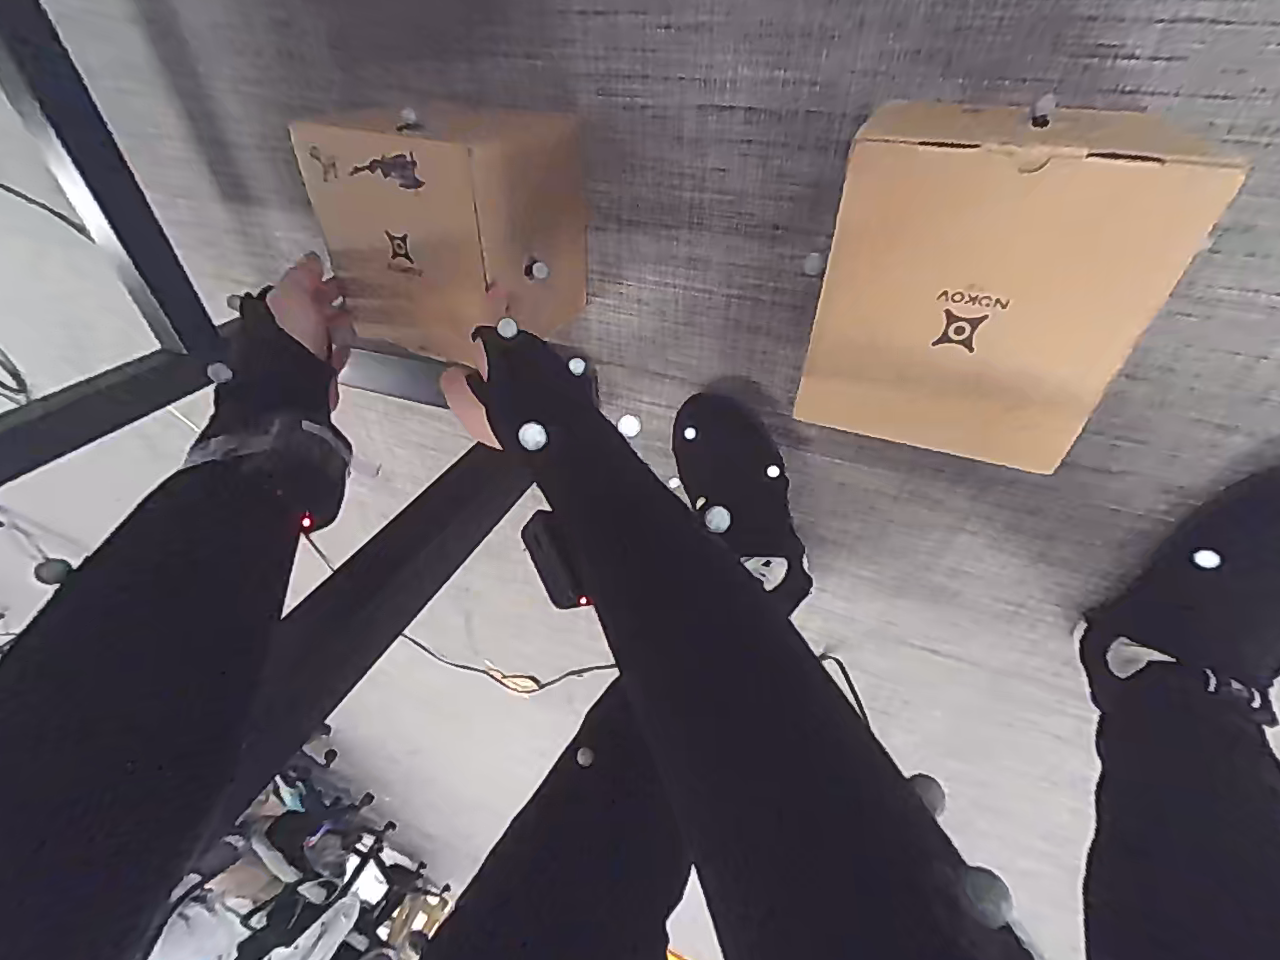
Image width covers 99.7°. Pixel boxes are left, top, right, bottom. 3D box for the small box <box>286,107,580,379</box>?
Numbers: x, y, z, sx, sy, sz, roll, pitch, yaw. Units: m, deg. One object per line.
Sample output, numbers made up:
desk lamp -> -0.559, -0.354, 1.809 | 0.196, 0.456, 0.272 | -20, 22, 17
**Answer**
small box -> -0.165, -0.223, 0.497 | 0.168, 0.176, 0.179 | 17, 132, 16
